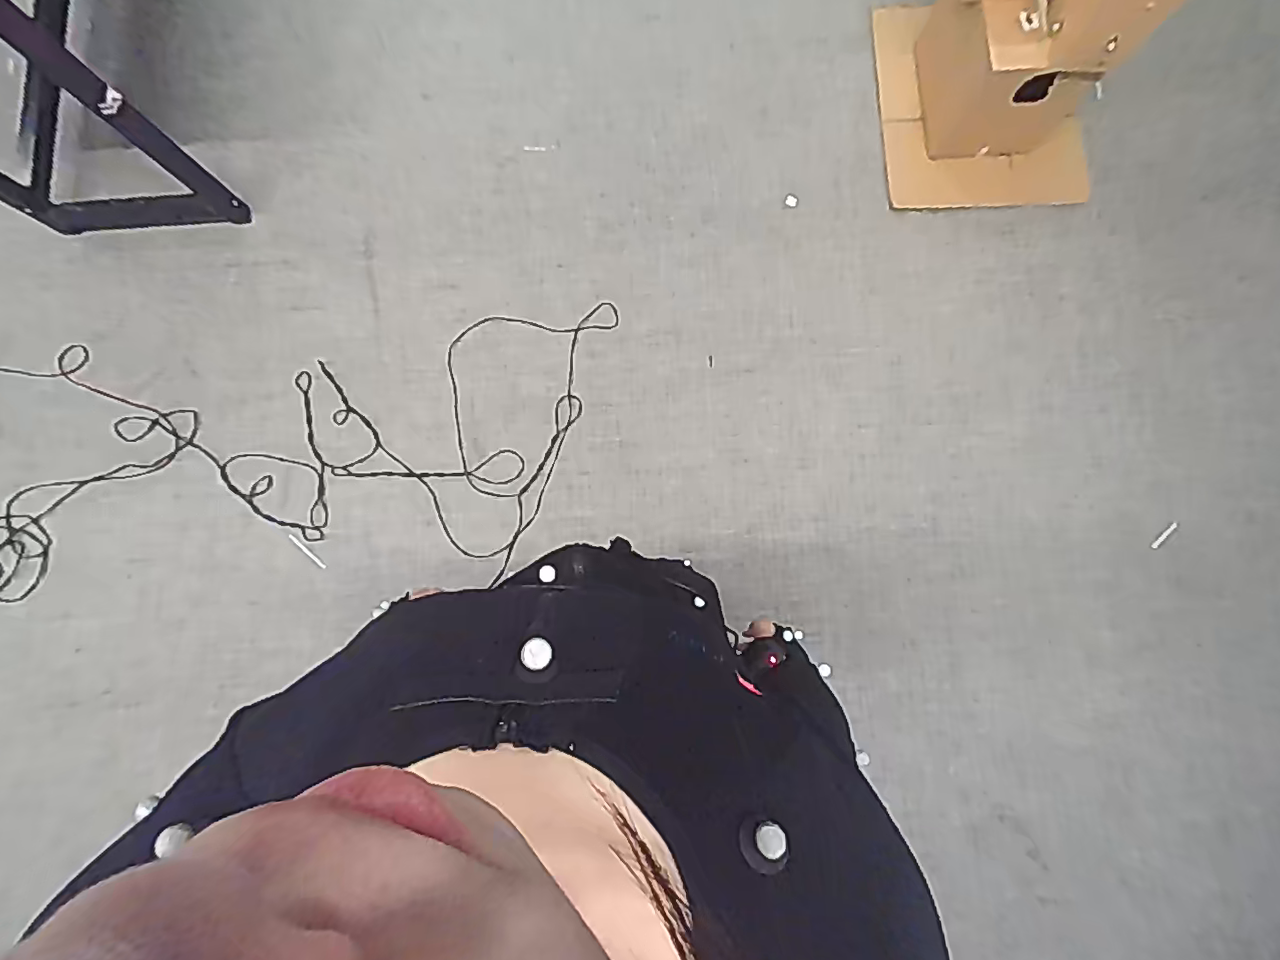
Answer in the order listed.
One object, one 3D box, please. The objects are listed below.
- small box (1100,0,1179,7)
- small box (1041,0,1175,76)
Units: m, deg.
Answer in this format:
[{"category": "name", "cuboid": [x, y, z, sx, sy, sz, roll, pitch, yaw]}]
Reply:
[{"category": "small box", "cuboid": [1.103, -1.130, 1.121, 0.179, 0.176, 0.168, 1, 79, 0]}, {"category": "small box", "cuboid": [1.101, -1.105, 1.286, 0.168, 0.176, 0.179, 0, 80, 0]}]
